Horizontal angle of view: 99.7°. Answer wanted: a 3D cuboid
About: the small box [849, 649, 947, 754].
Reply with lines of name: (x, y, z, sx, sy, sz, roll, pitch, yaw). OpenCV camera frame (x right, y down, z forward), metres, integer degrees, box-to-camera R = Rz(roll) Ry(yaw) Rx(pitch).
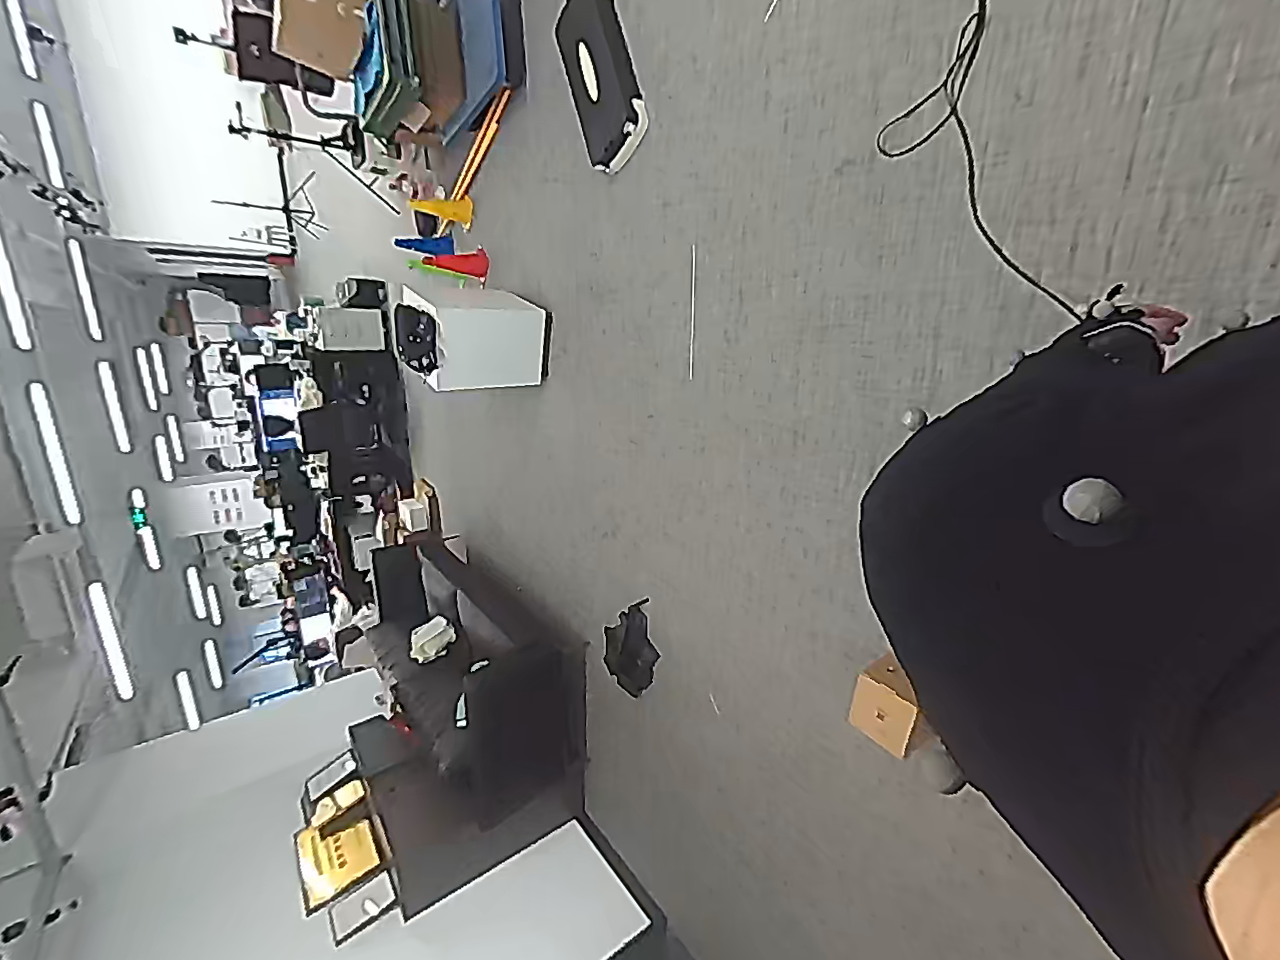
small box: (0.703, 0.591, 1.470, 0.168, 0.176, 0.179, 28, 122, 49)
